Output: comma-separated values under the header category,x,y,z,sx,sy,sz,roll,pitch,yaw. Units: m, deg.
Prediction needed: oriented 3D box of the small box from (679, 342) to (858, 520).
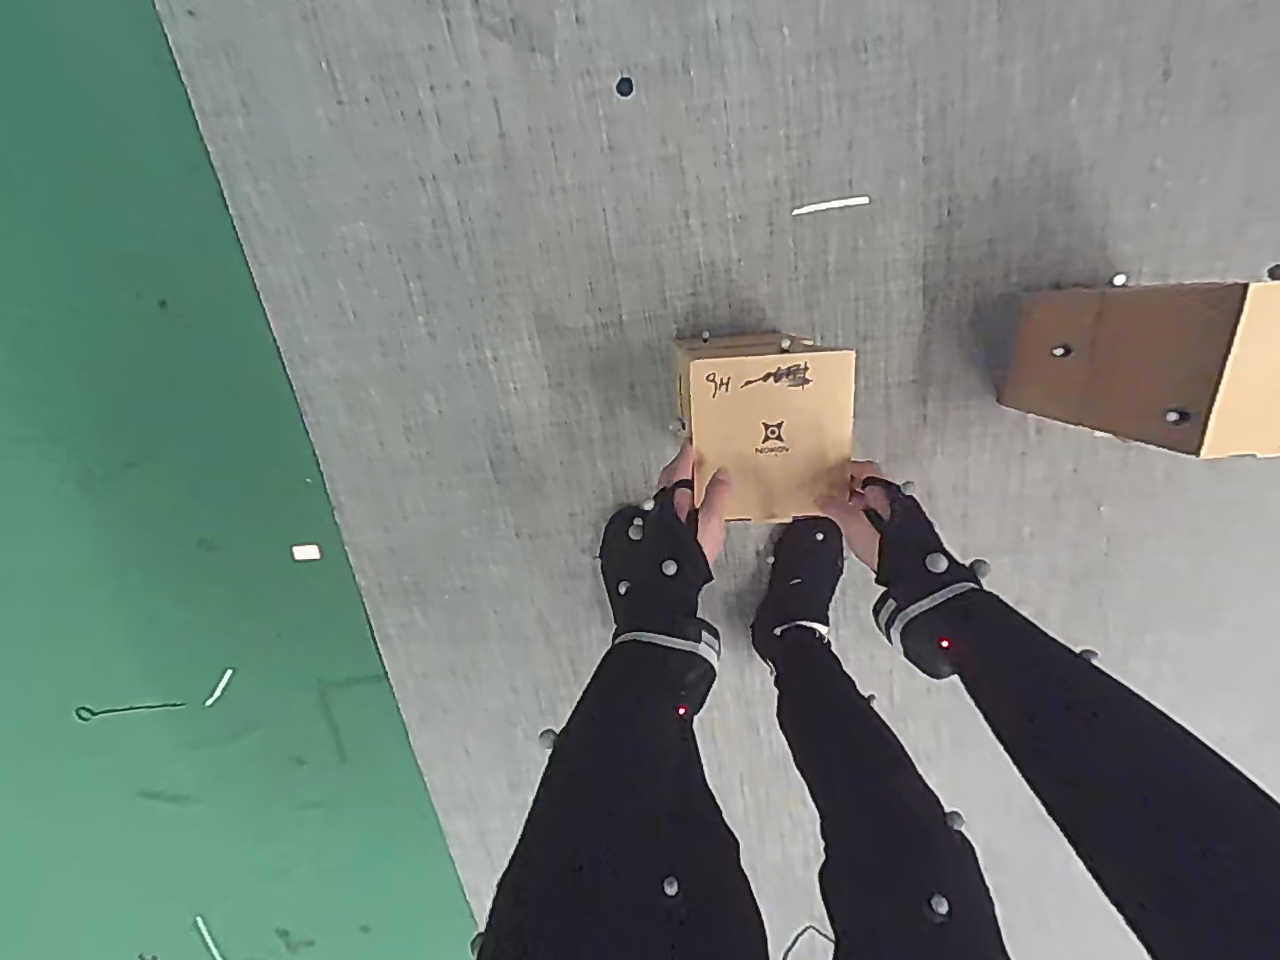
category,x,y,z,sx,sy,sz,roll,pitch,yaw
small box,0.135,-0.065,0.628,0.168,0.176,0.179,-2,106,0

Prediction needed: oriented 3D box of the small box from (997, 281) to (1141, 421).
category,x,y,z,sx,sy,sz,roll,pitch,yaw
small box,0.646,-0.182,0.762,0.168,0.176,0.179,4,110,2

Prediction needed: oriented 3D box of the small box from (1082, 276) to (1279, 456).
category,x,y,z,sx,sy,sz,roll,pitch,yaw
small box,0.651,-0.134,0.608,0.168,0.176,0.179,-3,109,1

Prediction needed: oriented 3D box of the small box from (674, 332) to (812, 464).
category,x,y,z,sx,sy,sz,roll,pitch,yaw
small box,0.139,-0.125,0.792,0.179,0.176,0.168,-3,109,1
